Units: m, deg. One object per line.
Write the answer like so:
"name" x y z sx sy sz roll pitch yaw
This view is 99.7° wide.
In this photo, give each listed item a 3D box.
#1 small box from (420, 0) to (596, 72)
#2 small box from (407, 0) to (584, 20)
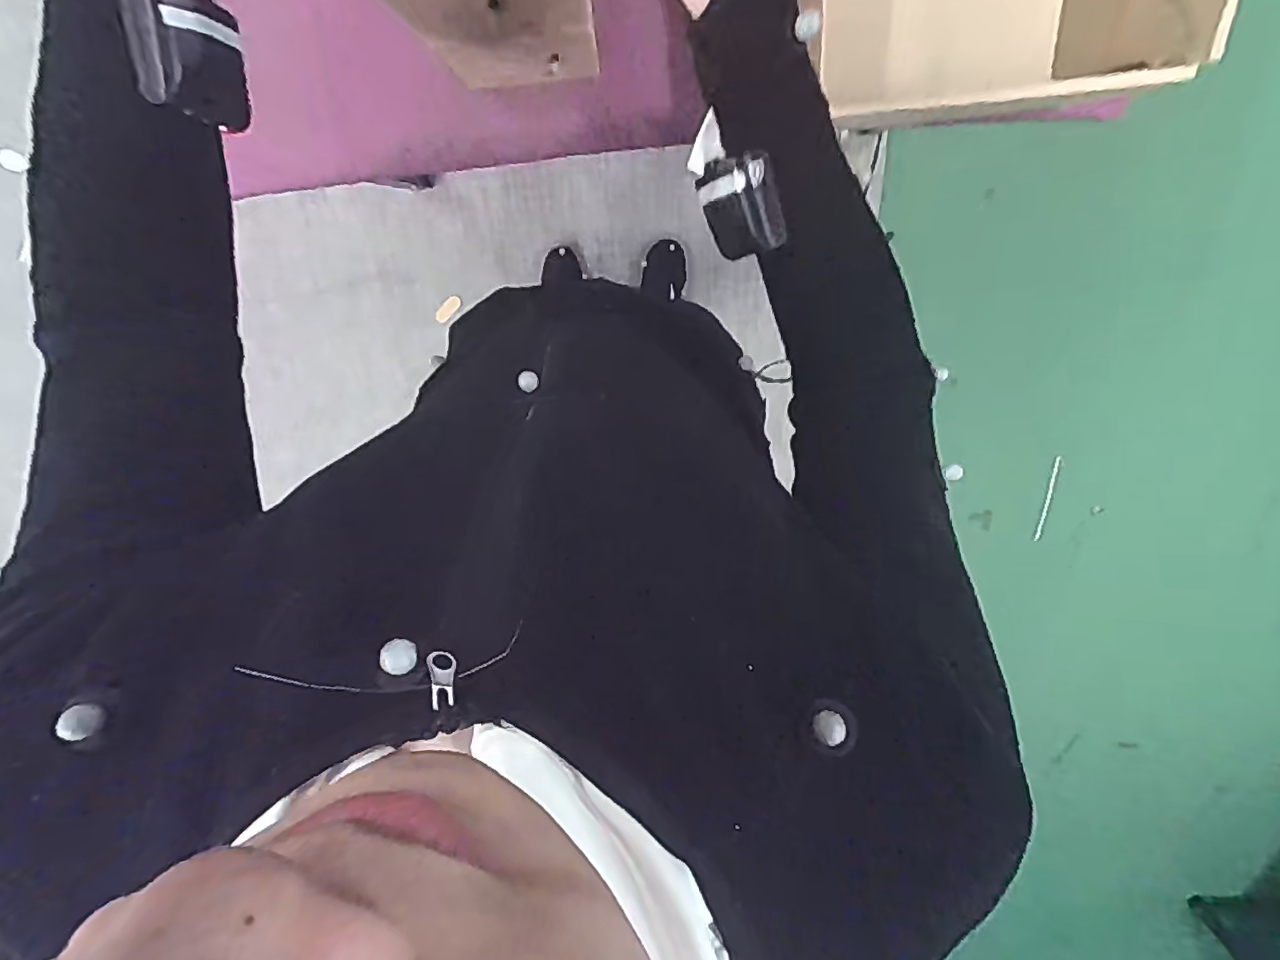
"small box" -0.139 -0.555 0.568 0.168 0.176 0.179 -5 114 0
"small box" -0.135 -0.490 0.418 0.168 0.176 0.179 -6 115 0
